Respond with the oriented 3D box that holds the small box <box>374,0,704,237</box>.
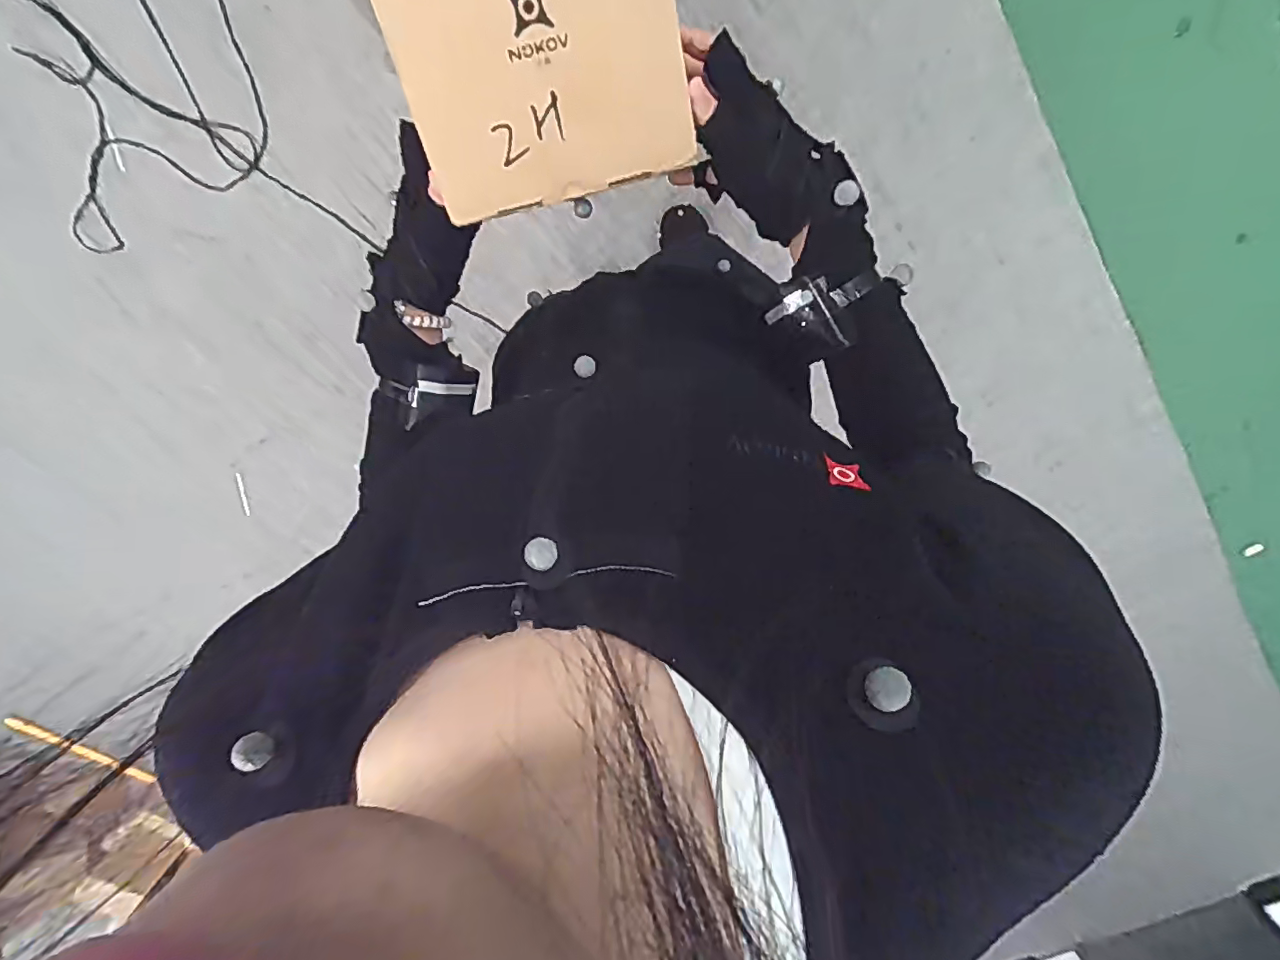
[{"bbox_3d":[-0.062,-0.281,0.371,0.168,0.176,0.179,-13,118,3],"label":"small box"}]
